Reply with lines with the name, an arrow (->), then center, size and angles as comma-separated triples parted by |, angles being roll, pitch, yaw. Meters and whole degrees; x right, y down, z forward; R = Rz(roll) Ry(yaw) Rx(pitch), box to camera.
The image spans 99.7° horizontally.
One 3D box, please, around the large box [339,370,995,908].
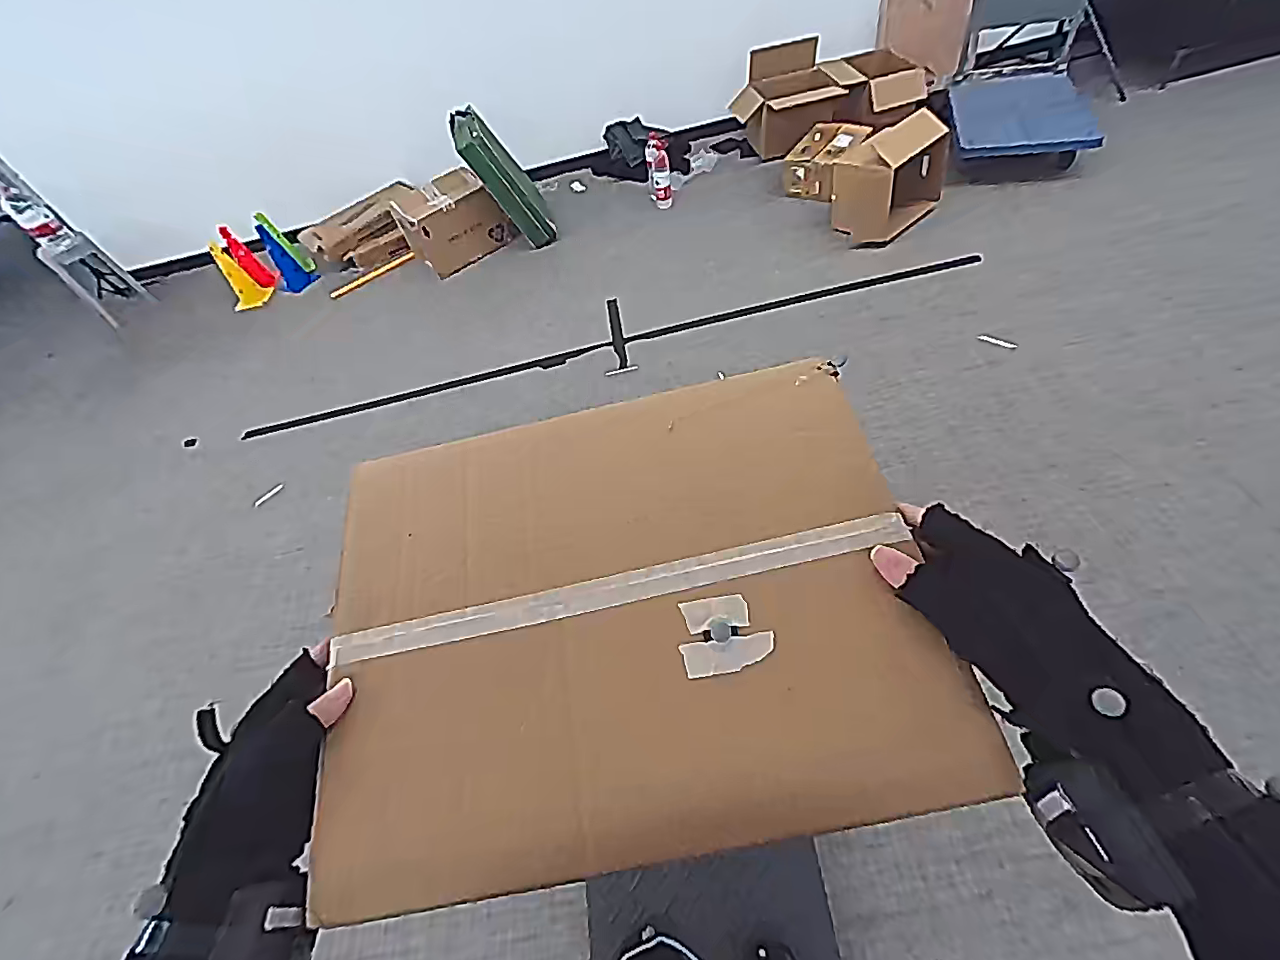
large box -> 0.006, 0.151, 0.516 | 0.408, 0.320, 0.320 | -13, 61, 2
